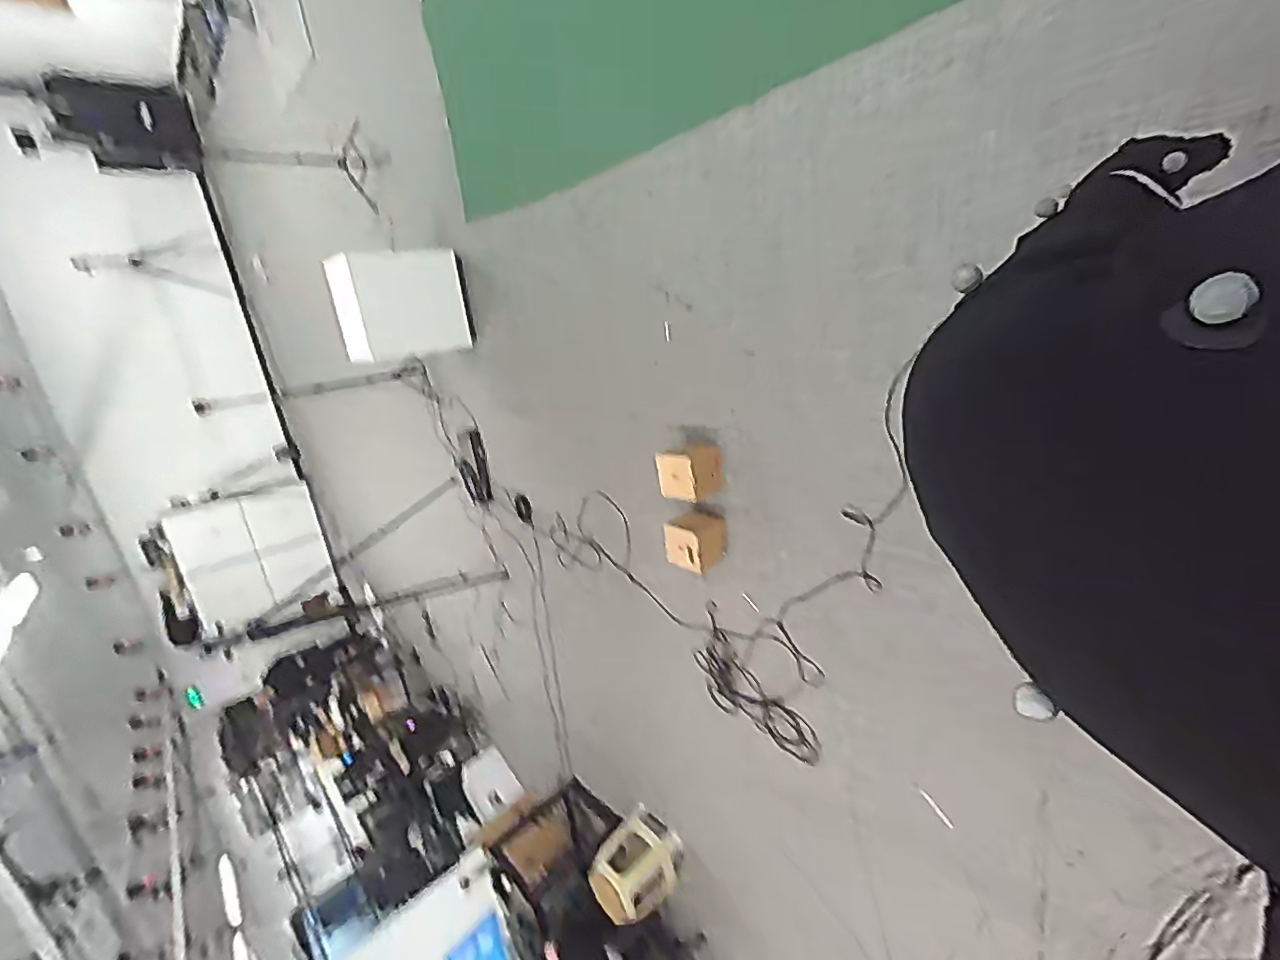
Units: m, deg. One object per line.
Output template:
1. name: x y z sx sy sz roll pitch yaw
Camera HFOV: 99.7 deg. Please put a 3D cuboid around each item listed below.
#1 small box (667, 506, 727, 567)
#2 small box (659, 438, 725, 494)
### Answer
1. small box: 0.229 0.216 2.130 0.179 0.176 0.168 15 118 46
2. small box: 0.198 -0.059 2.040 0.179 0.176 0.168 7 113 47
